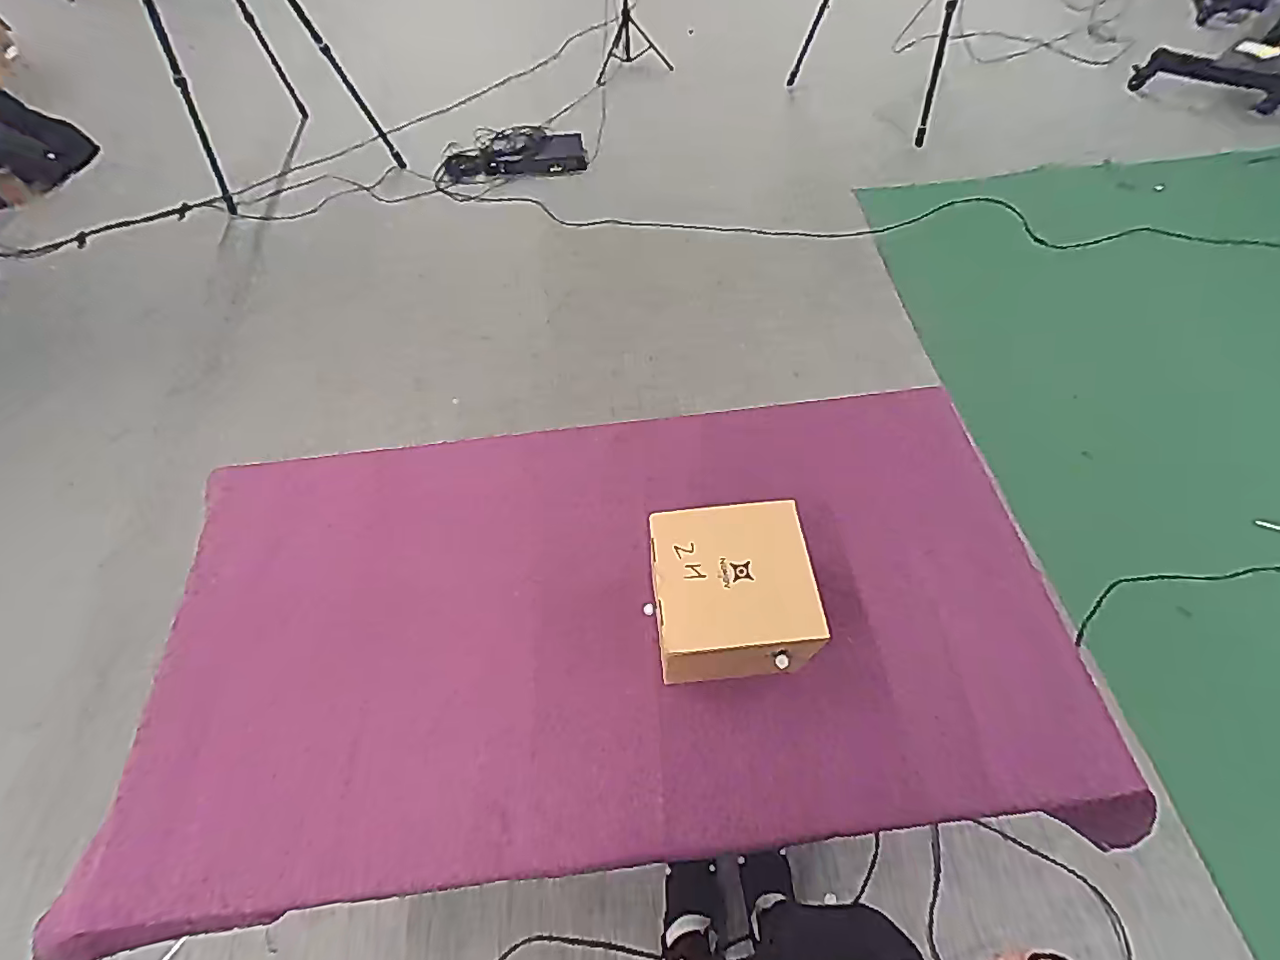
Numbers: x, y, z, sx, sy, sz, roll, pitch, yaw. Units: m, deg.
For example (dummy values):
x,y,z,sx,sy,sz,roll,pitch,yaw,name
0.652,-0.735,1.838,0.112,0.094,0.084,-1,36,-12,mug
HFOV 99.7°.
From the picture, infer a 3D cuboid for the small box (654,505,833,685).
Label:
x,y,z,sx,sy,sz,roll,pitch,yaw,name
0.112,0.147,0.668,0.179,0.176,0.168,-6,59,0,small box
